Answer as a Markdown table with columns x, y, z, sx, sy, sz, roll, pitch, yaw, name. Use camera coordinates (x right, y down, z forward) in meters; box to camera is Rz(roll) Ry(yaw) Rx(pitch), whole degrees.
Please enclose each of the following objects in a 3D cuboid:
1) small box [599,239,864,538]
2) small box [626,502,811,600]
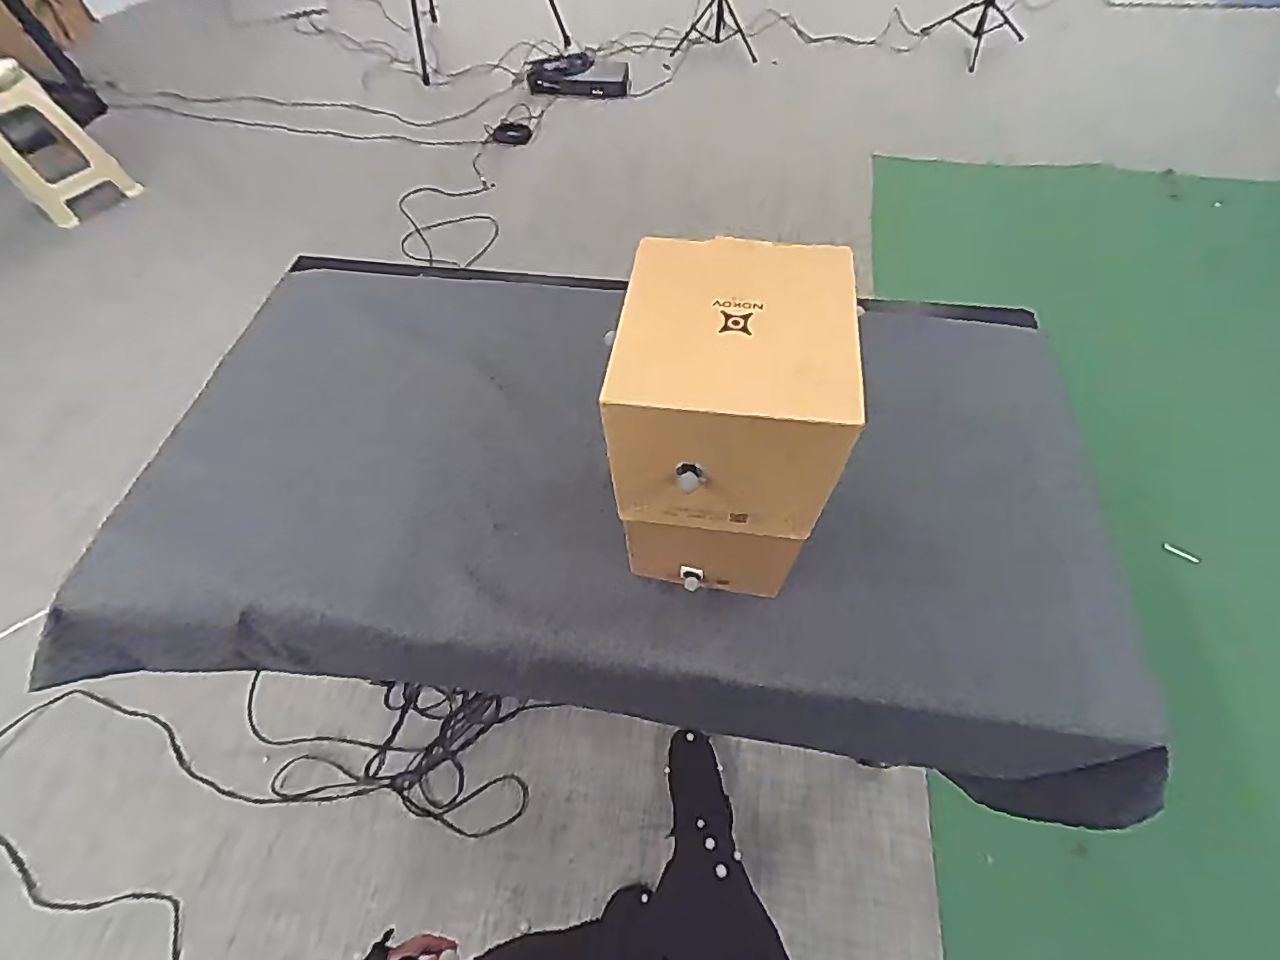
| x | y | z | sx | sy | sz | roll | pitch | yaw | name |
| --- | --- | --- | --- | --- | --- | --- | --- | --- | --- |
| 0.072 | -0.068 | 0.440 | 0.168 | 0.176 | 0.179 | 5 | 58 | 7 | small box |
| 0.085 | 0.011 | 0.582 | 0.168 | 0.176 | 0.179 | 6 | 60 | 8 | small box |
